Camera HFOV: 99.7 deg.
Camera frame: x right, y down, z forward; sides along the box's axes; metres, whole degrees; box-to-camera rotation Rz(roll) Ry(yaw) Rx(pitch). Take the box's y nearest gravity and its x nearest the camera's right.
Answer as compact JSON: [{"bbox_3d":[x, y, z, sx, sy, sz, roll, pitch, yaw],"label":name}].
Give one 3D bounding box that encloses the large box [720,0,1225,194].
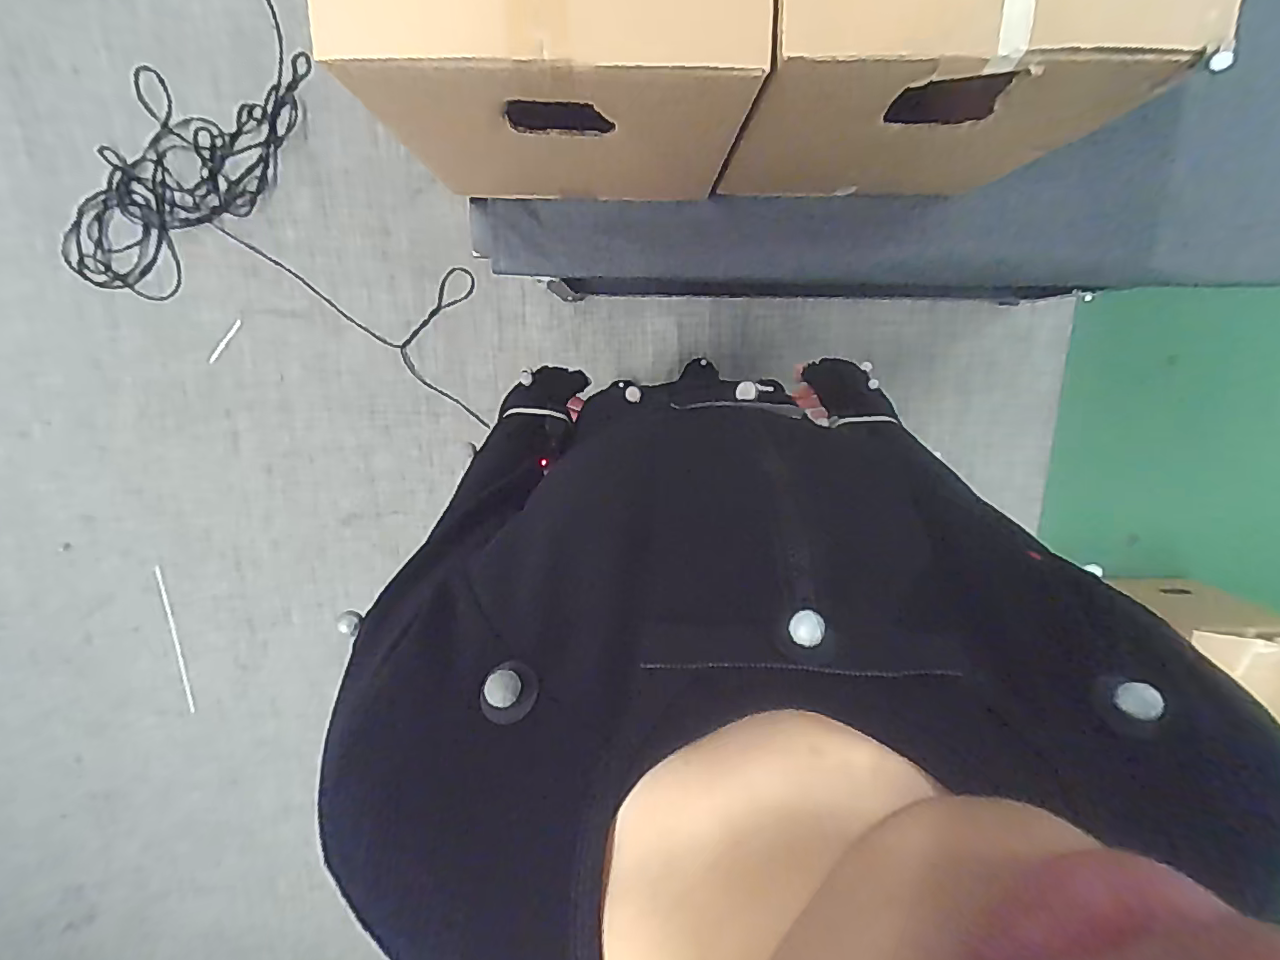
[{"bbox_3d":[0.246,-0.515,0.481,0.320,0.320,0.408,0,103,1],"label":"large box"}]
